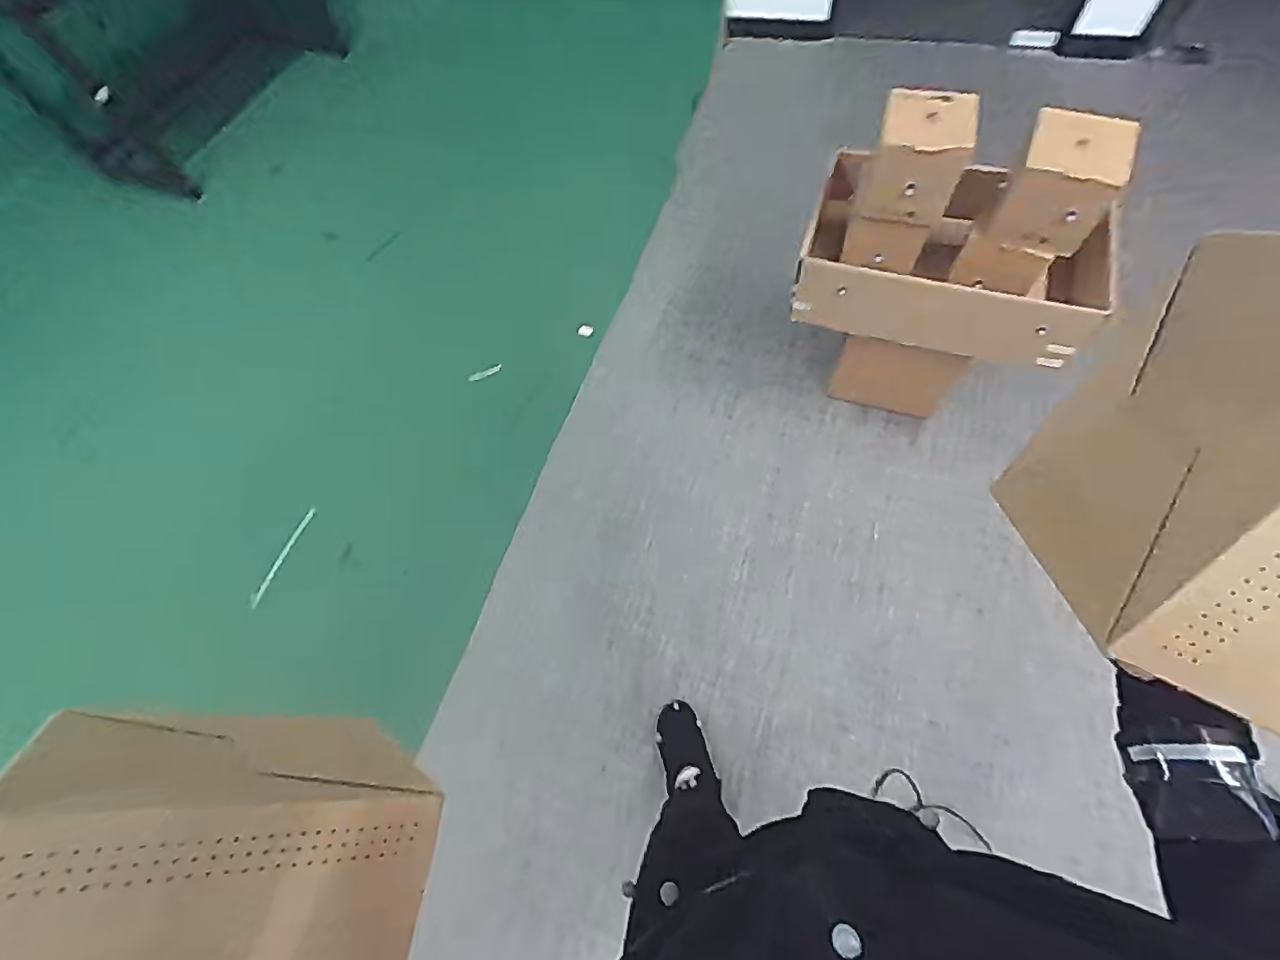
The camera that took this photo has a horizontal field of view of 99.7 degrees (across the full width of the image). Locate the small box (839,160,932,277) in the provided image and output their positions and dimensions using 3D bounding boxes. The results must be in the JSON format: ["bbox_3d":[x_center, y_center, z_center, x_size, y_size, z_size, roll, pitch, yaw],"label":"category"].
[{"bbox_3d":[0.577,-0.612,1.270,0.168,0.176,0.179,12,67,13],"label":"small box"}]

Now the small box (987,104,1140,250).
[{"bbox_3d":[0.808,-0.581,1.048,0.168,0.176,0.179,21,70,15],"label":"small box"}]

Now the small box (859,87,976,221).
[{"bbox_3d":[0.563,-0.665,1.115,0.168,0.176,0.179,13,68,12],"label":"small box"}]

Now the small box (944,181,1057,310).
[{"bbox_3d":[0.808,-0.516,1.199,0.168,0.176,0.179,26,71,17],"label":"small box"}]
